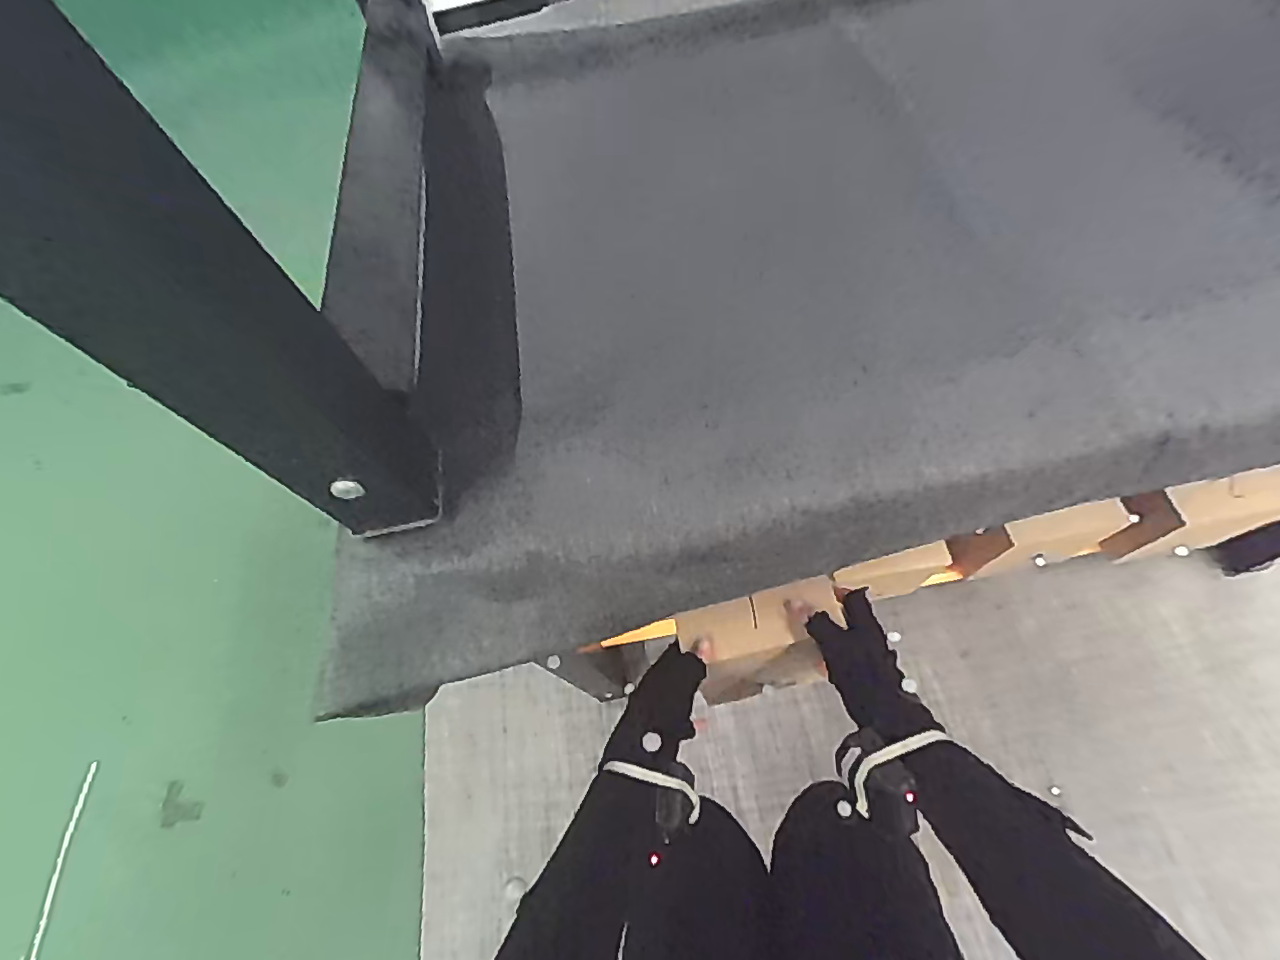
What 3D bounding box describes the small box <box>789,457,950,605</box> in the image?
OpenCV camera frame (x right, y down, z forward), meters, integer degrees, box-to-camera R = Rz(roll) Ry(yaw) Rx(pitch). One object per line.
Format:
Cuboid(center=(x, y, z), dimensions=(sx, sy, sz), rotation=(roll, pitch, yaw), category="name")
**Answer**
Cuboid(center=(0.347, 0.090, 0.857), dimensions=(0.168, 0.176, 0.179), rotation=(-11, 62, 1), category="small box")
